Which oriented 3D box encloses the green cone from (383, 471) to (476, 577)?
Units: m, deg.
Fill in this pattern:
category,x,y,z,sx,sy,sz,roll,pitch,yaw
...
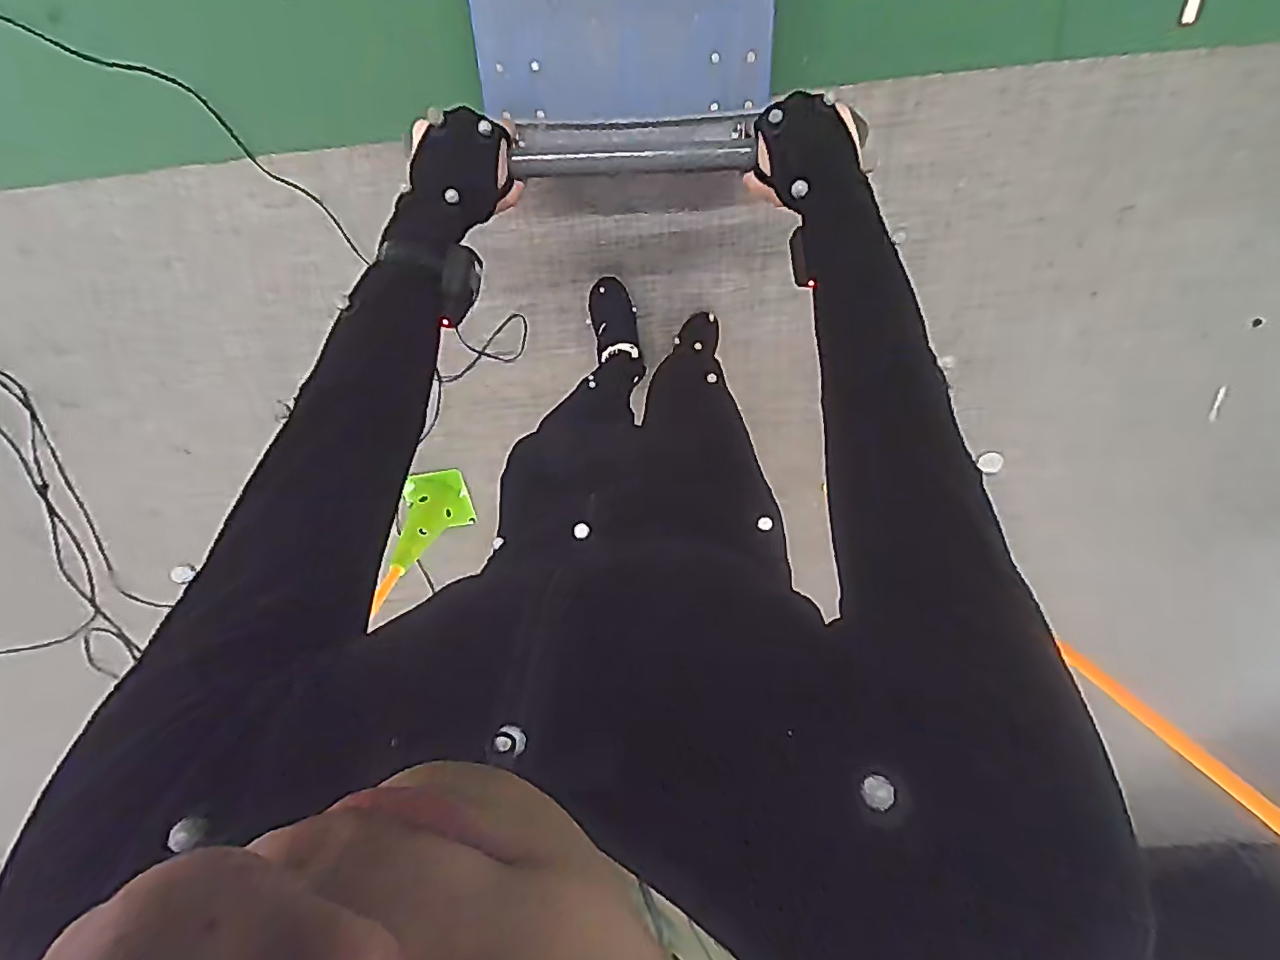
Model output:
category,x,y,z,sx,sy,sz,roll,pitch,yaw
green cone,-0.637,0.147,1.547,0.202,0.368,0.200,-8,118,5
